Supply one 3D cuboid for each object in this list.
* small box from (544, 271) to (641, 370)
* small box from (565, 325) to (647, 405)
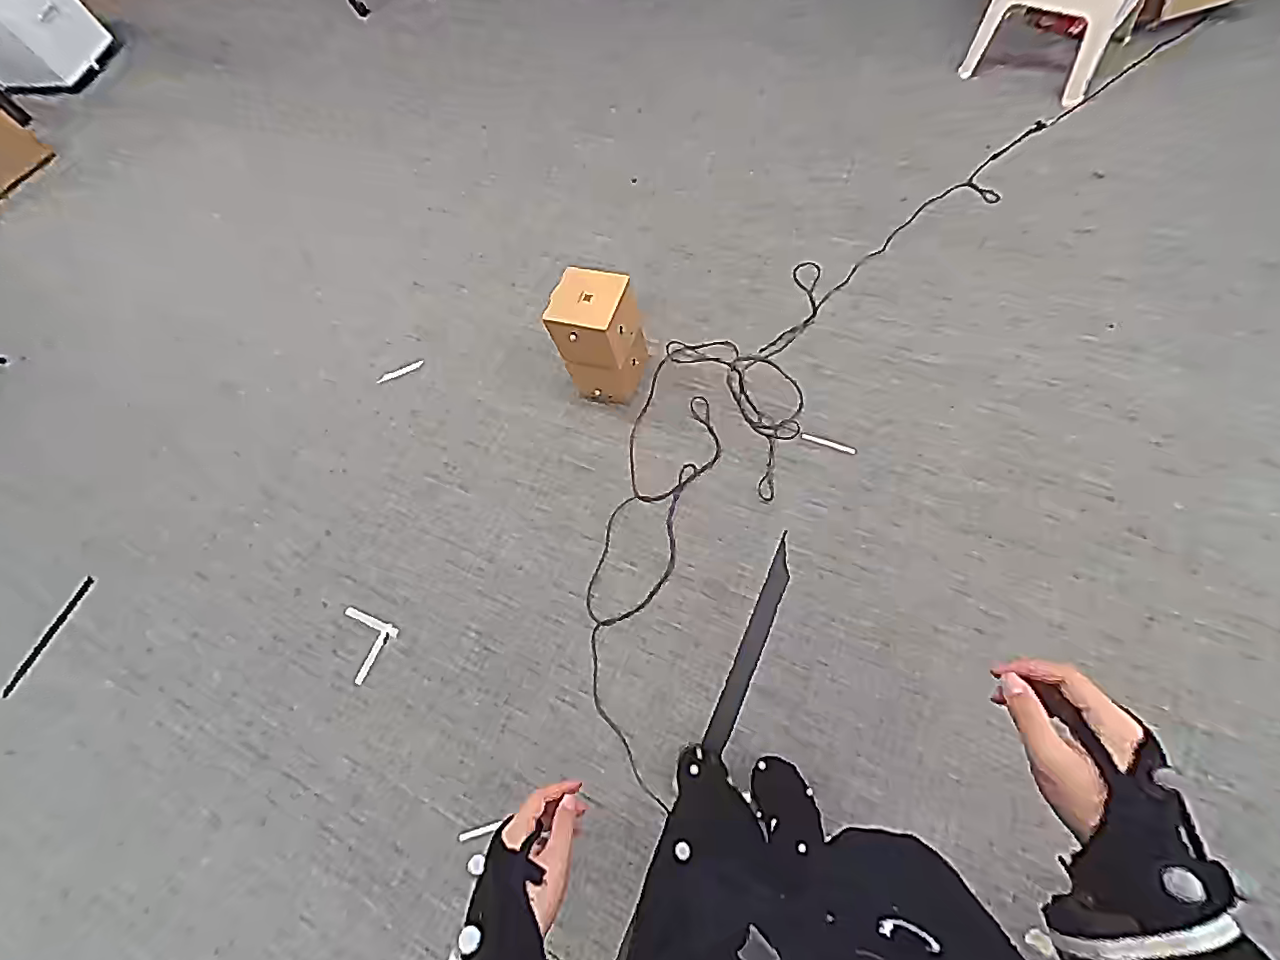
[{"bbox_3d":[-0.111,-0.399,1.373,0.179,0.176,0.168,14,71,18],"label":"small box"},{"bbox_3d":[-0.086,-0.337,1.520,0.168,0.176,0.179,13,71,17],"label":"small box"}]
